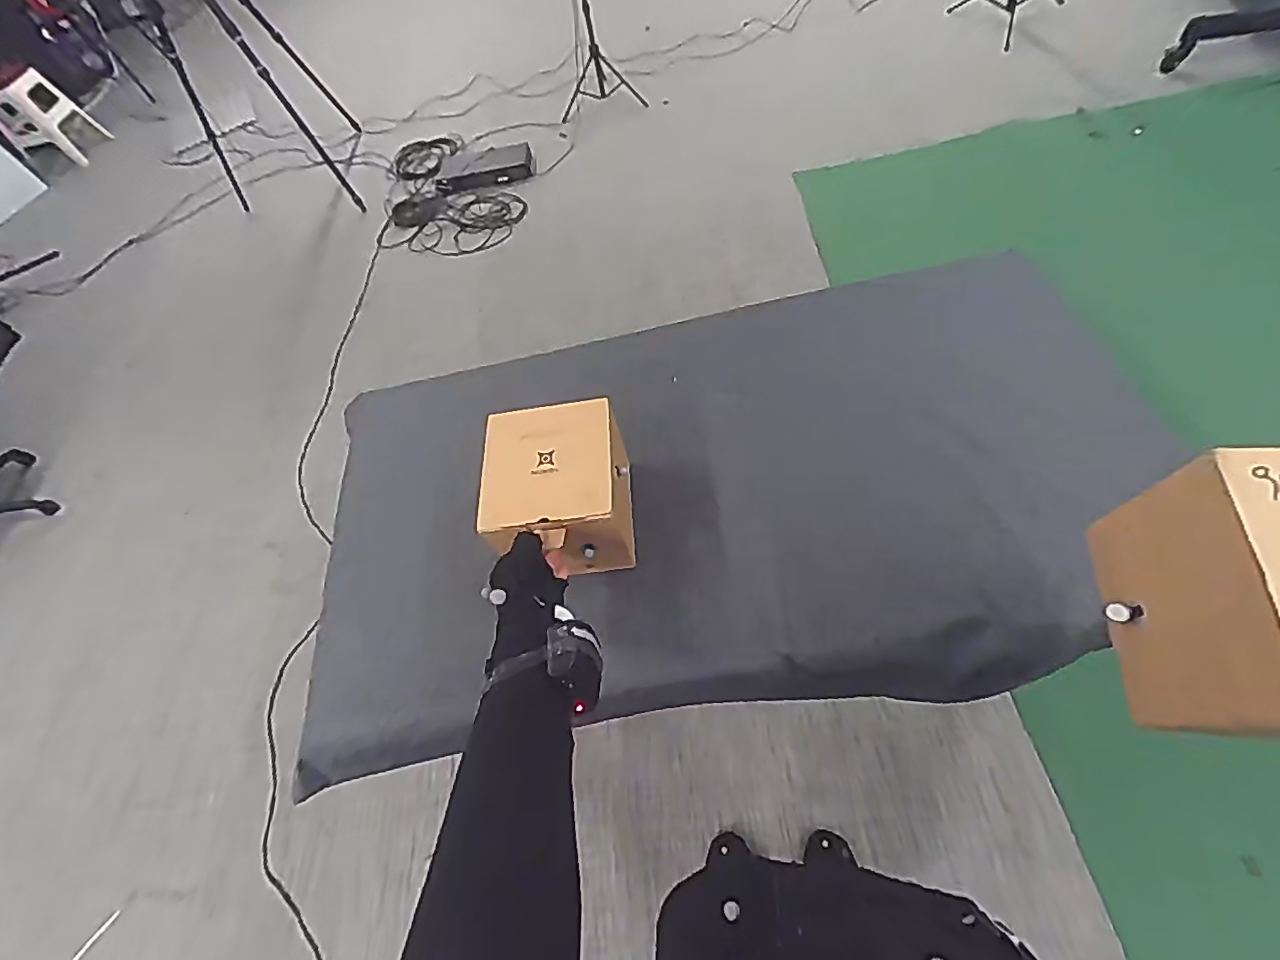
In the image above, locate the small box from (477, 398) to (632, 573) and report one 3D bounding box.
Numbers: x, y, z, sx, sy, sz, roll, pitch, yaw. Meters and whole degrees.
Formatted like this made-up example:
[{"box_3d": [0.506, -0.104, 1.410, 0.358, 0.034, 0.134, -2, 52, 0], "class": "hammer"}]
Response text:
[{"box_3d": [-0.105, 0.017, 0.736, 0.168, 0.176, 0.179, -7, 58, 4], "class": "small box"}]
